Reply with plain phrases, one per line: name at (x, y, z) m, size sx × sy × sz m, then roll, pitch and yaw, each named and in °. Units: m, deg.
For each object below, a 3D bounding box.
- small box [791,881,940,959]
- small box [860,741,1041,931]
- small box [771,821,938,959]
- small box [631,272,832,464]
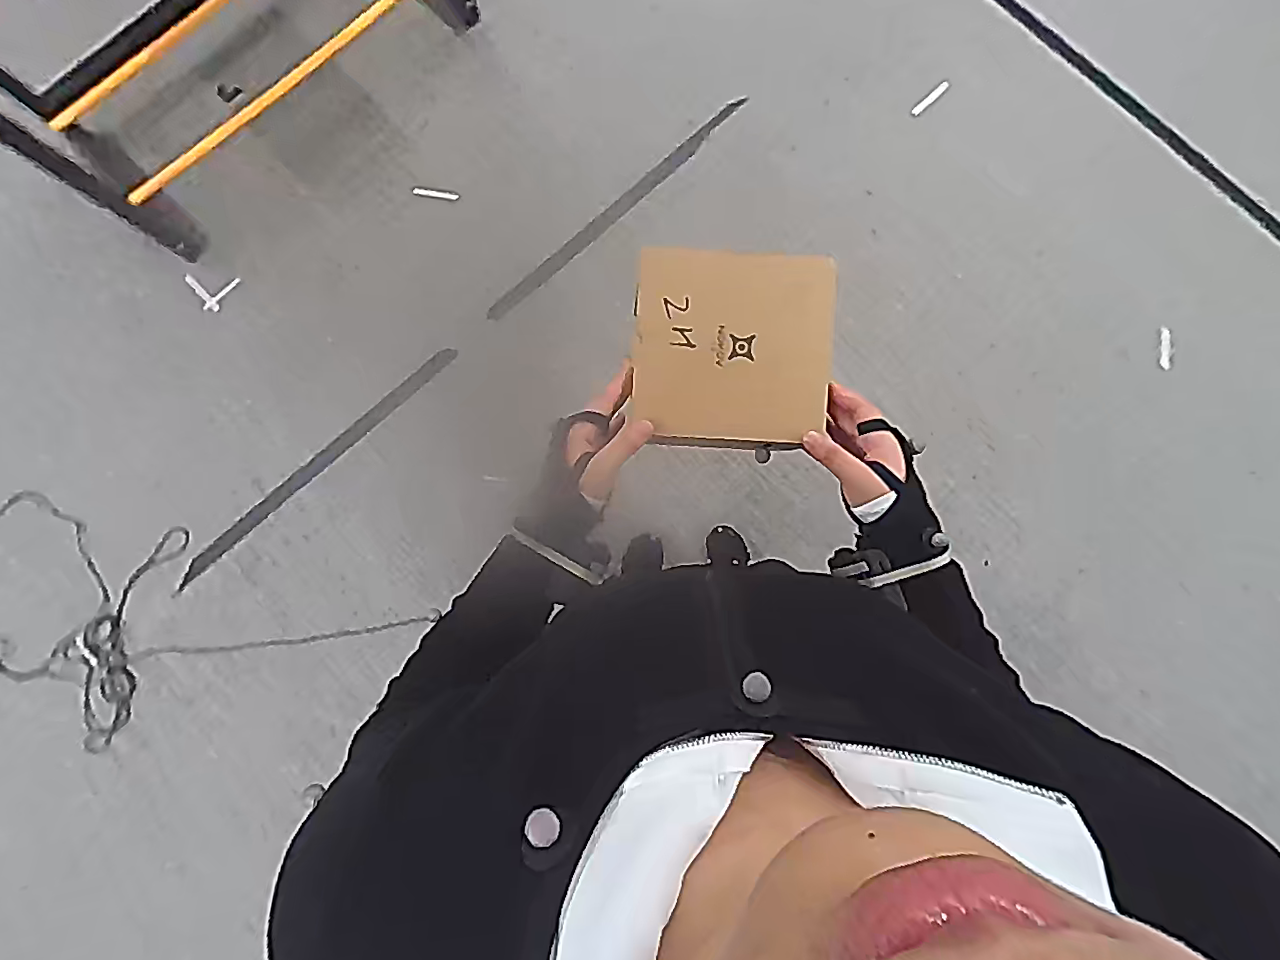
small box at (0.335, 0.708, 0.730) m, size 0.168 × 0.176 × 0.179 m, roll -42°, pitch 84°, yaw -2°
small box at (0.498, 0.579, 0.906) m, size 0.179 × 0.176 × 0.168 m, roll -35°, pitch 82°, yaw -5°
small box at (0.336, 0.722, 0.893) m, size 0.179 × 0.176 × 0.168 m, roll -44°, pitch 83°, yaw -3°
small box at (0.082, -0.105, 0.571) m, size 0.179 × 0.176 × 0.168 m, roll 3°, pitch 91°, yaw 0°
